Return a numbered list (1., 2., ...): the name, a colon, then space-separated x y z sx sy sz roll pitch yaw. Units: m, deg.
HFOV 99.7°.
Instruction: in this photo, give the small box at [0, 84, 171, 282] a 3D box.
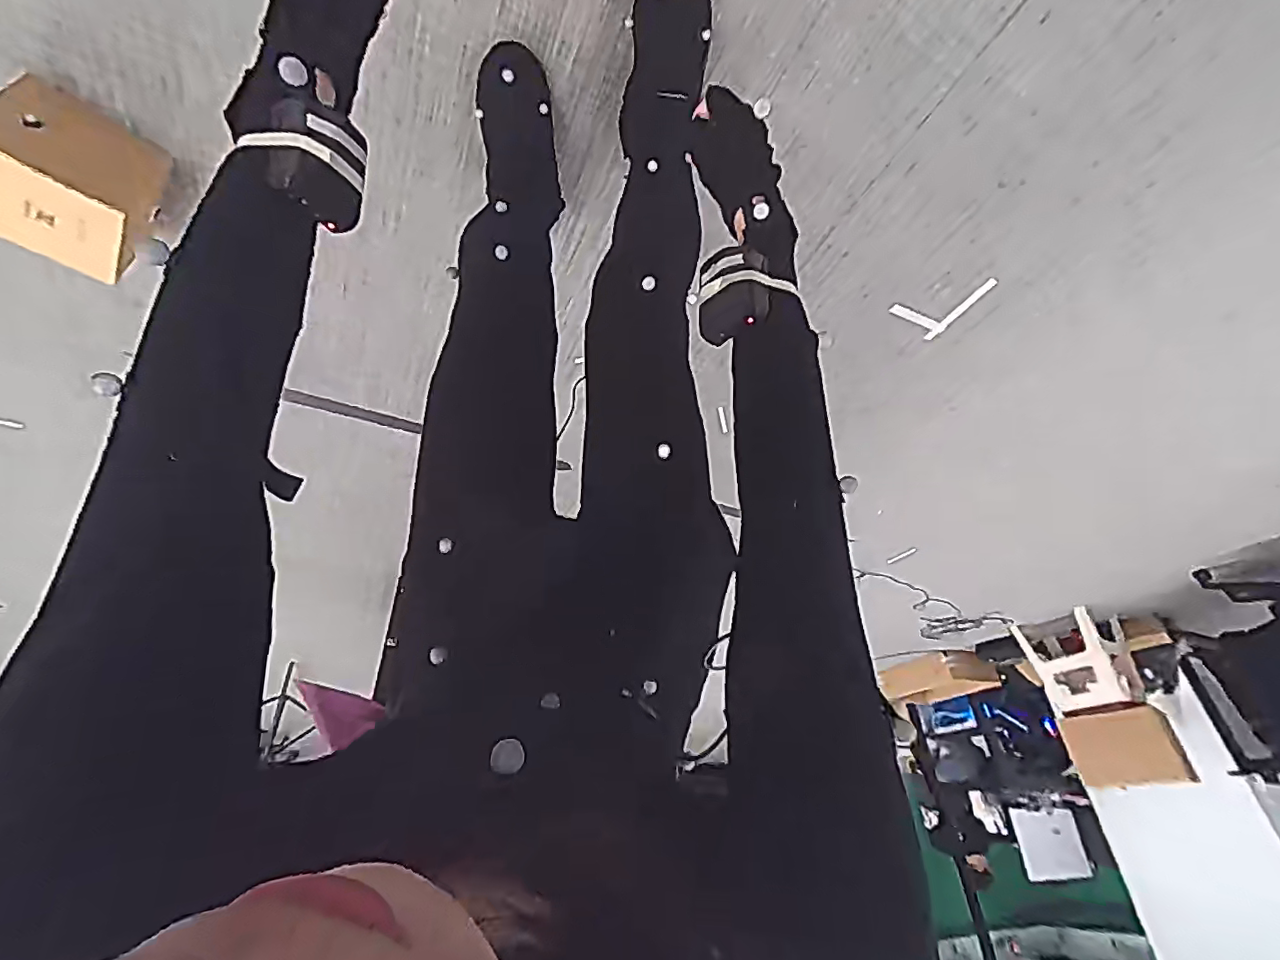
1. small box: -0.861 -0.448 0.813 0.179 0.176 0.168 26 138 -36
